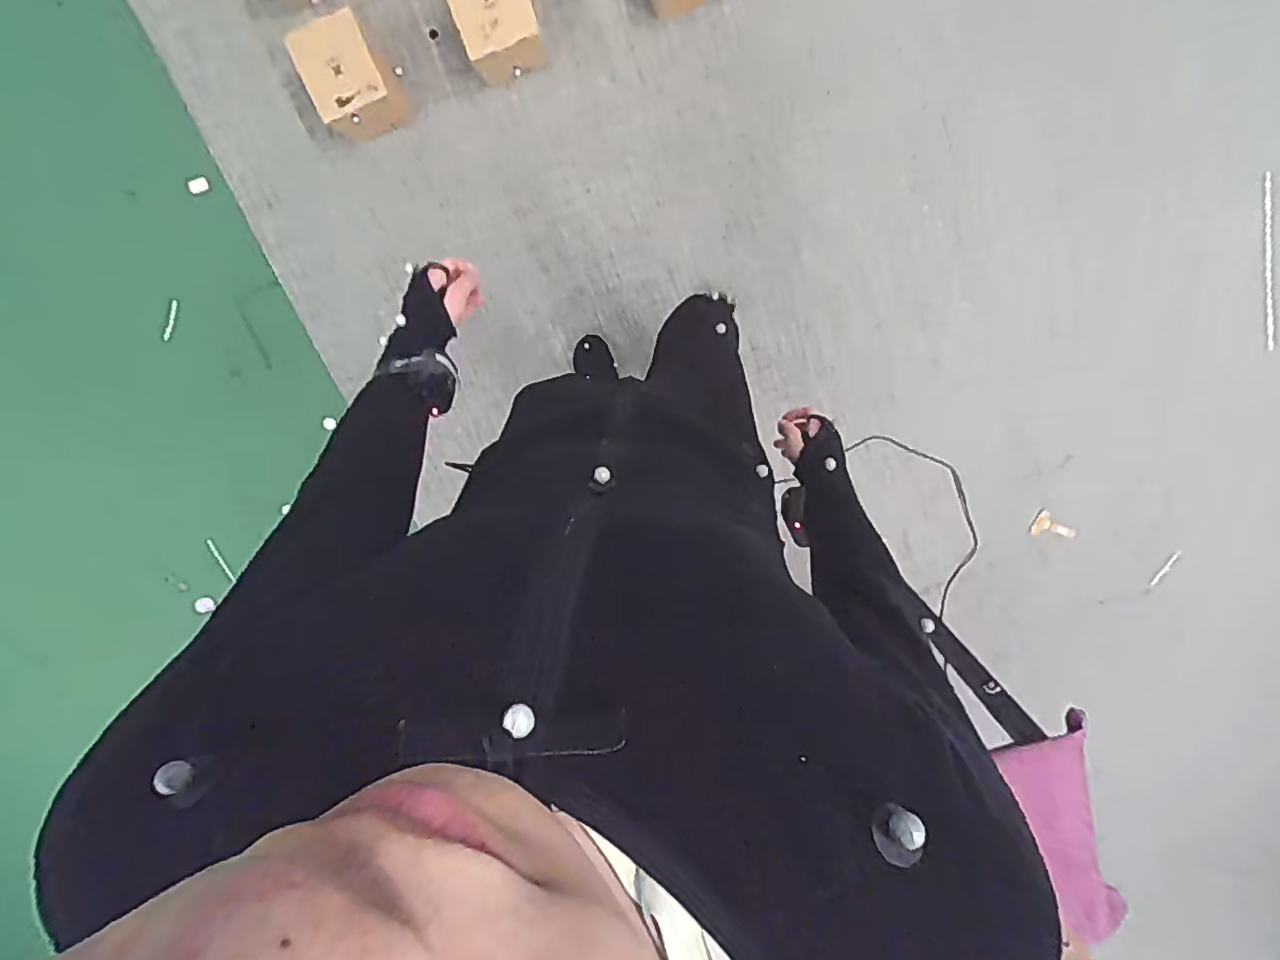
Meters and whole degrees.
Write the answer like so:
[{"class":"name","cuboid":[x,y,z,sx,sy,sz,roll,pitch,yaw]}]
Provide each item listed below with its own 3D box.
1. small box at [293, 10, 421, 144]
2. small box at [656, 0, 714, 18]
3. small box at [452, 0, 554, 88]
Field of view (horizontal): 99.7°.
[{"class":"small box","cuboid":[-0.648,-0.926,1.261,0.168,0.176,0.179,-19,107,8]},{"class":"small box","cuboid":[0.105,-1.156,1.169,0.179,0.176,0.168,-17,108,6]},{"class":"small box","cuboid":[-0.309,-1.034,1.217,0.168,0.176,0.179,-17,108,7]}]
